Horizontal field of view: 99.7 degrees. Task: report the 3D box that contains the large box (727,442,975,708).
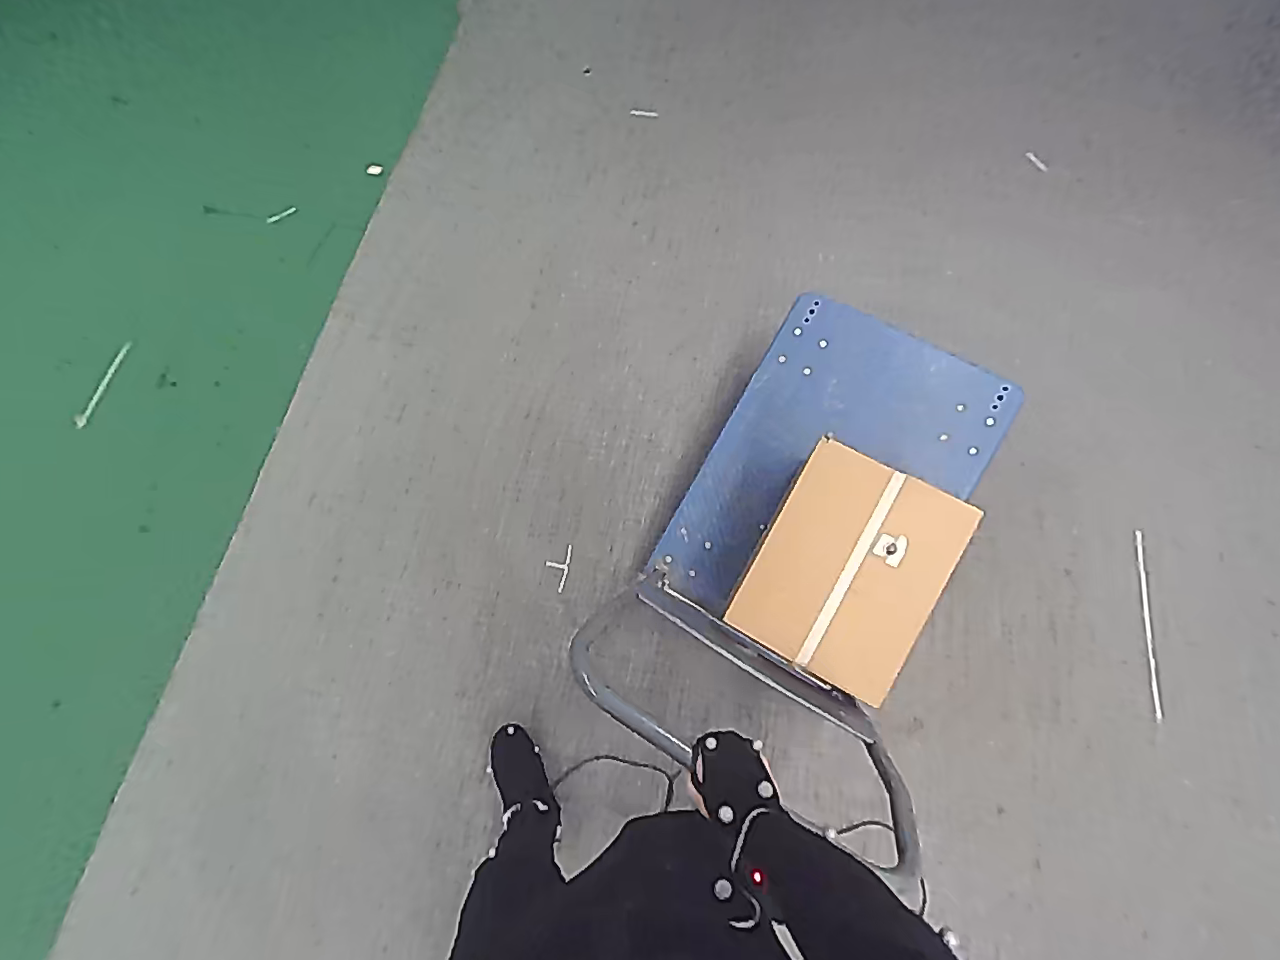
[{"bbox_3d":[0.413,0.190,1.151,0.320,0.320,0.408,29,88,12],"label":"large box"}]
